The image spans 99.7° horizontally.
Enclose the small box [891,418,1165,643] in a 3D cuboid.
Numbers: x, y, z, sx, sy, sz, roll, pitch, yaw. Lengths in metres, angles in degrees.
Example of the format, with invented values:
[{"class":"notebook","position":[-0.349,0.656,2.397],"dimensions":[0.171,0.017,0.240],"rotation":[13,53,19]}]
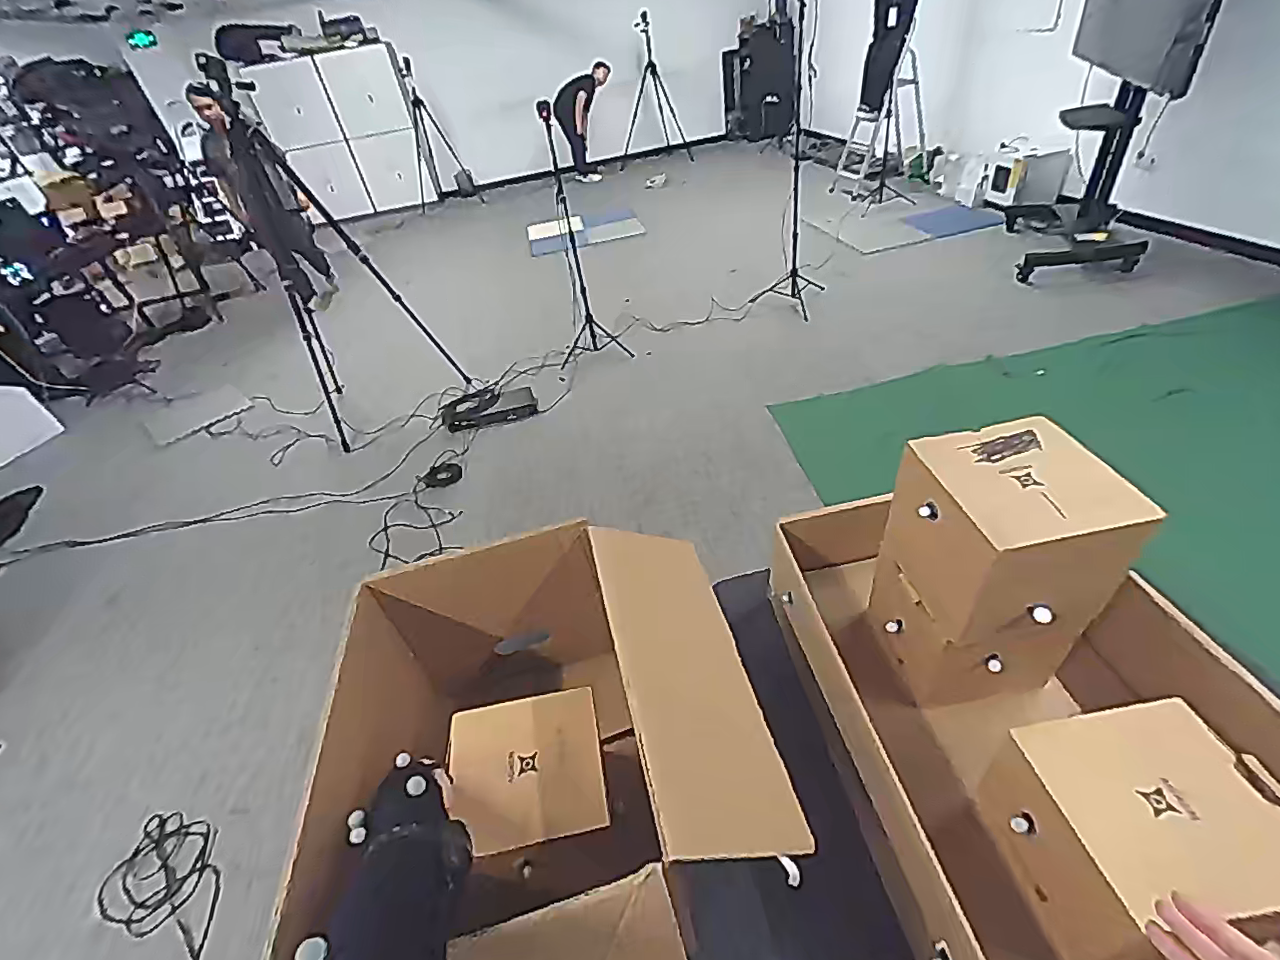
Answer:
[{"class":"small box","position":[0.413,0.057,0.621],"dimensions":[0.168,0.176,0.179],"rotation":[-11,42,0]}]
